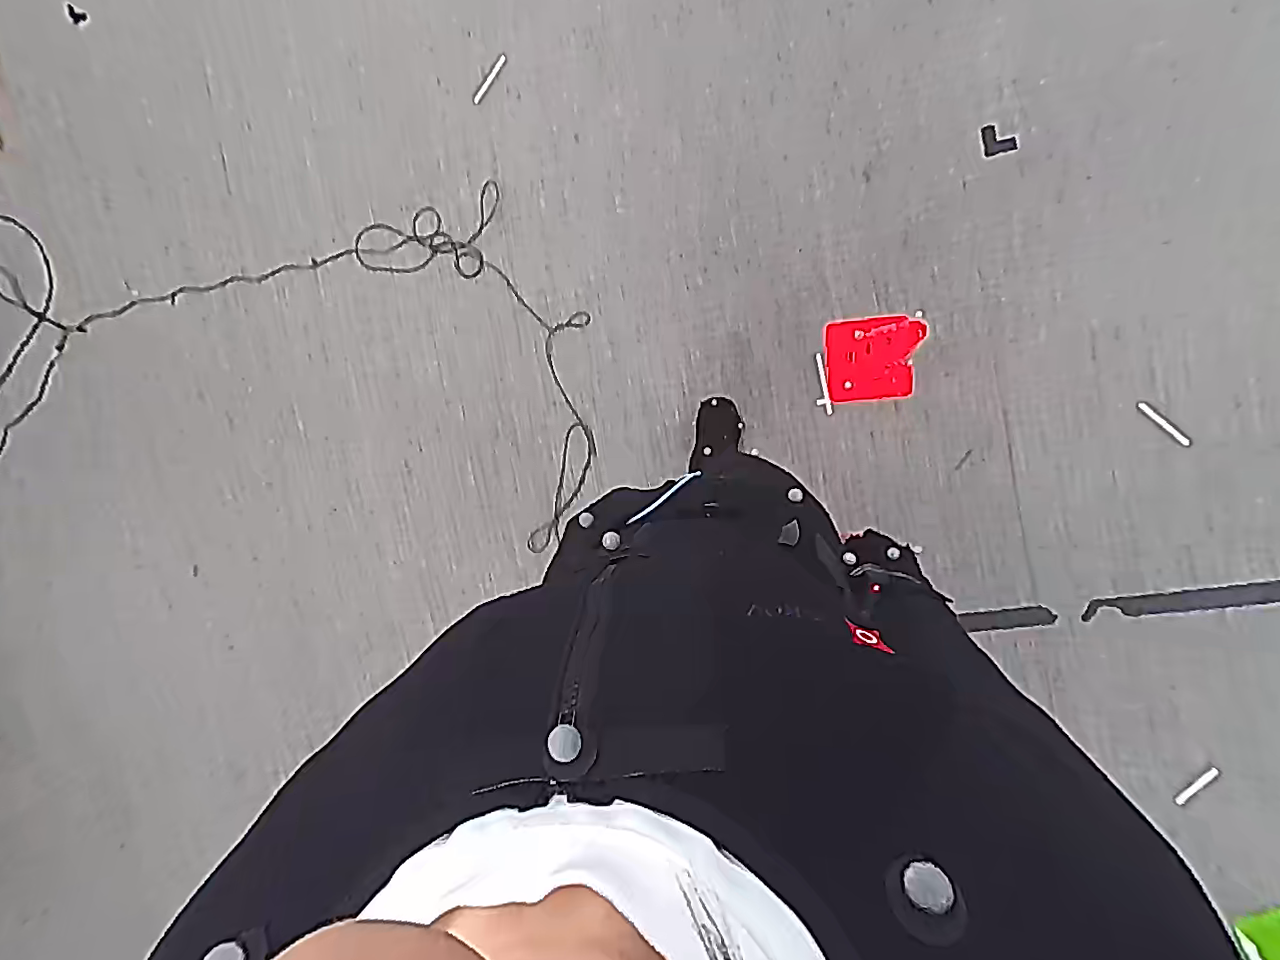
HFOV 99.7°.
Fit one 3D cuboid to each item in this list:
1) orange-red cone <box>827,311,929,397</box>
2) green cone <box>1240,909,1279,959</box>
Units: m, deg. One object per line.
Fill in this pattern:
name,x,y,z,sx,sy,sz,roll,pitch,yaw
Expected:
orange-red cone,0.531,-0.290,1.144,0.199,0.360,0.198,-3,94,9
green cone,1.498,1.093,1.081,0.202,0.368,0.200,-26,89,12
